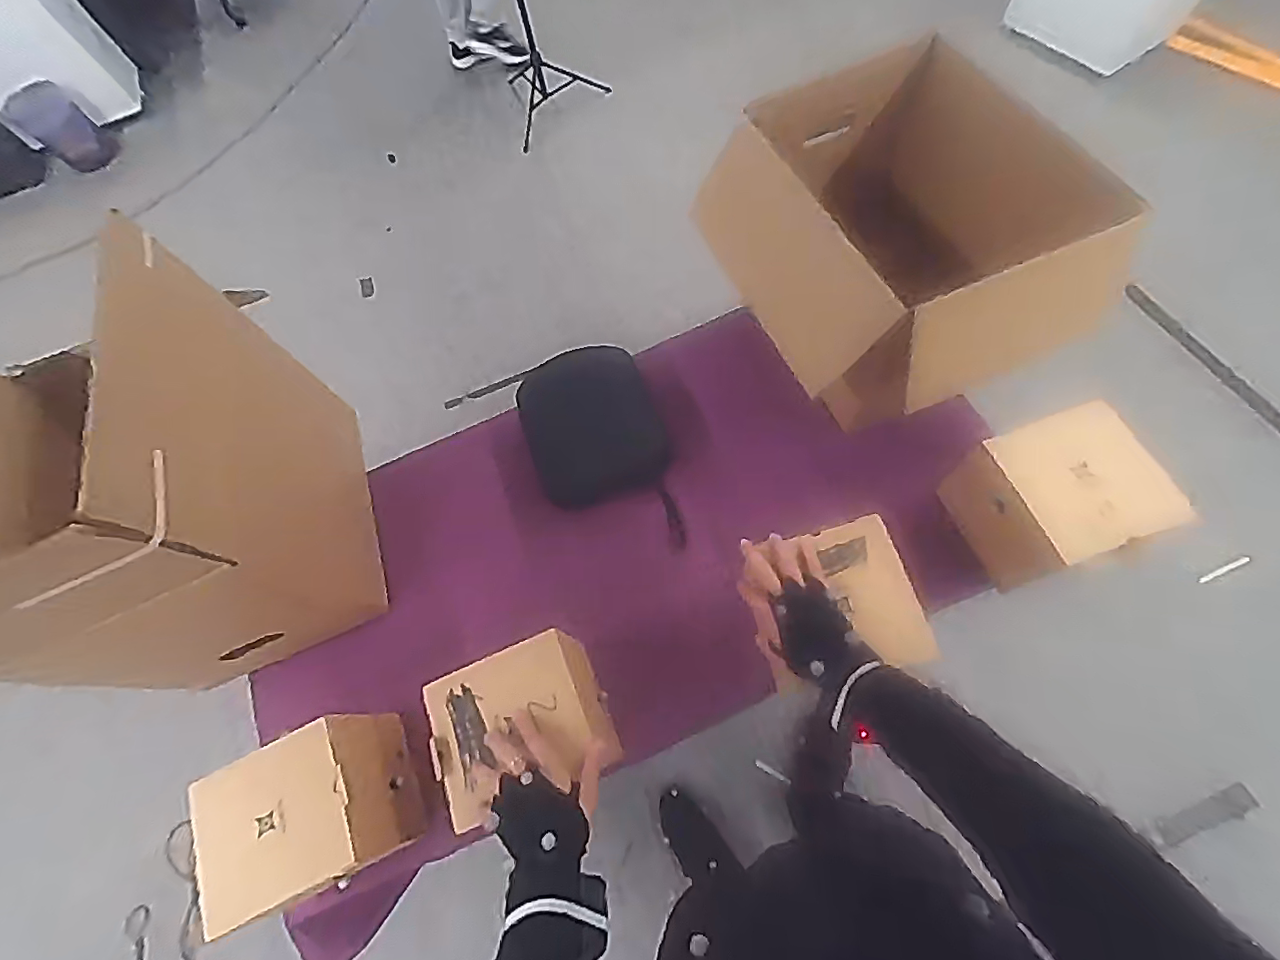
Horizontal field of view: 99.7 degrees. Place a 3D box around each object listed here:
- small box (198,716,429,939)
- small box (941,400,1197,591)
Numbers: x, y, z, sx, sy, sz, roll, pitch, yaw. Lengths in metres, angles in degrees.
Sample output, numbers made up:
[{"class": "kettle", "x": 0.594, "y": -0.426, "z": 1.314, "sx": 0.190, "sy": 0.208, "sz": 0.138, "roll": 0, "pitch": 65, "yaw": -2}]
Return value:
[{"class": "small box", "x": -0.403, "y": 0.421, "z": 0.686, "sx": 0.179, "sy": 0.176, "sz": 0.168, "roll": -27, "pitch": 66, "yaw": -5}, {"class": "small box", "x": 0.544, "y": 0.028, "z": 0.722, "sx": 0.168, "sy": 0.176, "sz": 0.179, "roll": -20, "pitch": 66, "yaw": 0}]
